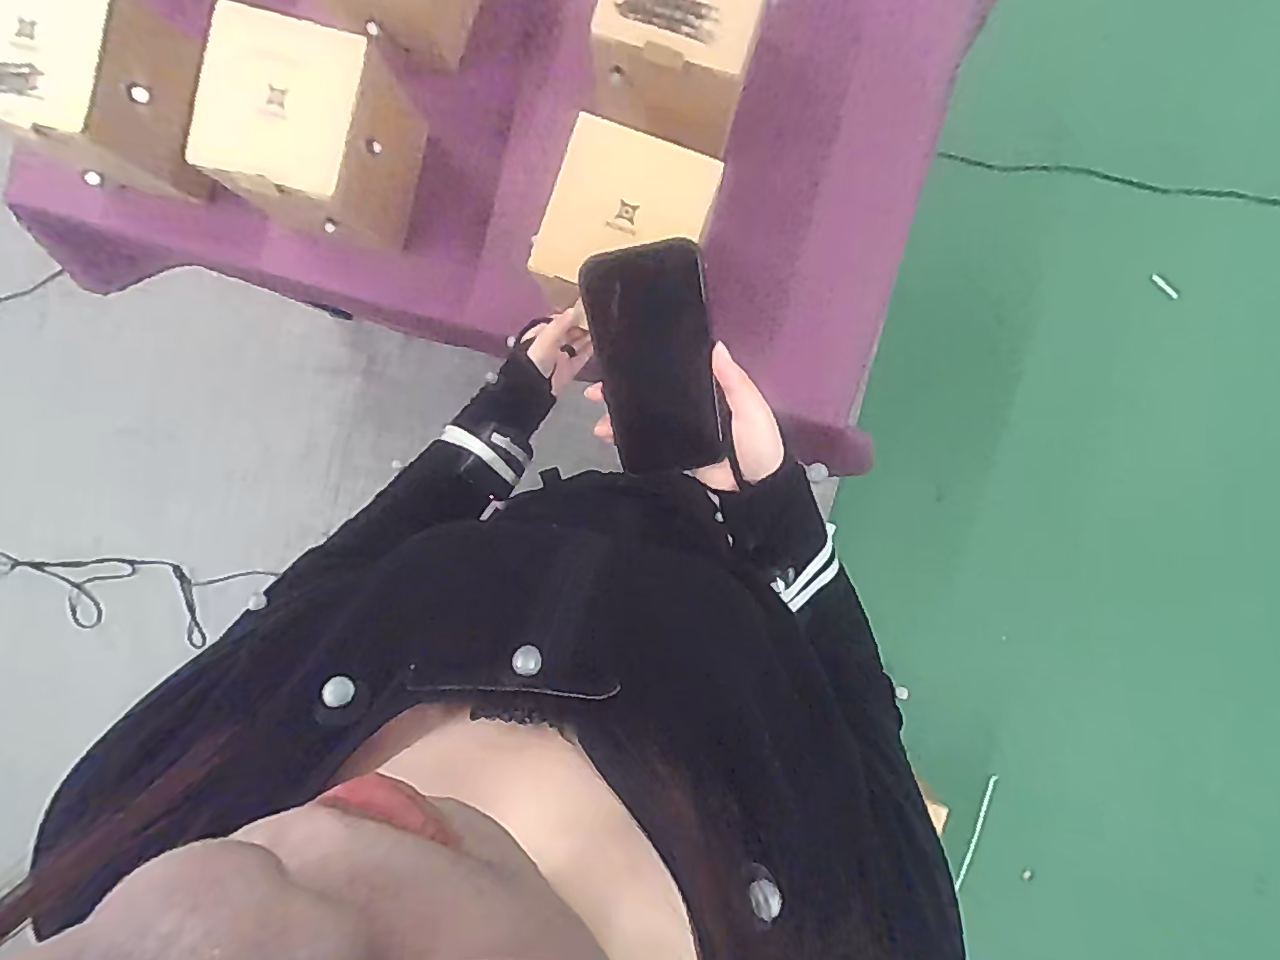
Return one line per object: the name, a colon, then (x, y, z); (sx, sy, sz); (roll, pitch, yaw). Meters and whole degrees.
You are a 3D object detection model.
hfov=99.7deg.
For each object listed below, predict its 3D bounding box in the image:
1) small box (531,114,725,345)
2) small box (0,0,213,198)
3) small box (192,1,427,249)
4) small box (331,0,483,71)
small box: (-0.014, -0.285, 0.658); (0.168, 0.176, 0.179); (20, 94, 0)
small box: (-0.648, -0.478, 0.658); (0.168, 0.176, 0.179); (14, 93, 0)
small box: (-0.383, -0.409, 0.659); (0.168, 0.176, 0.179); (16, 93, -1)
small box: (-0.291, -0.648, 0.639); (0.168, 0.176, 0.179); (22, 94, 0)
